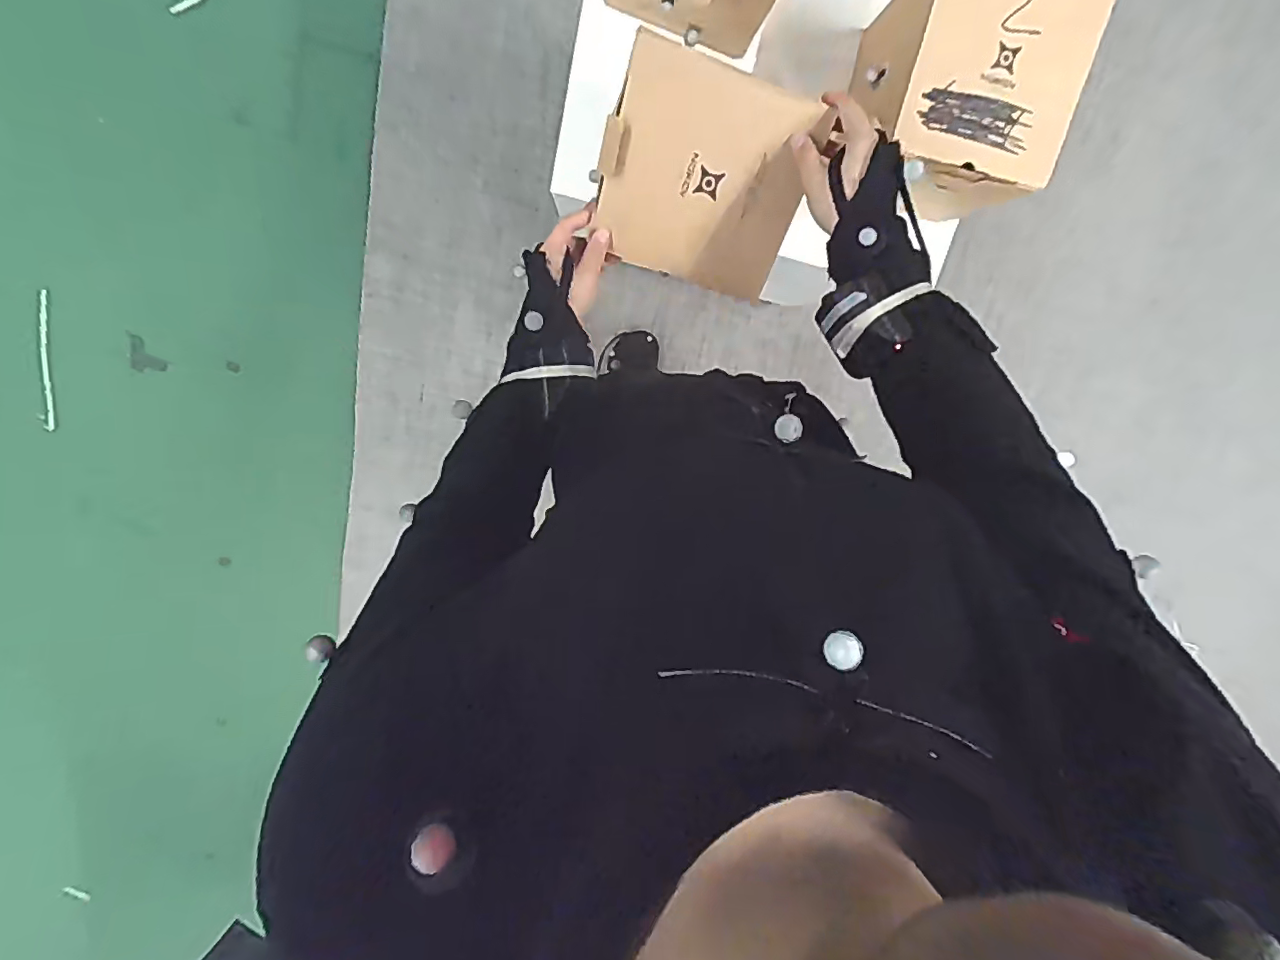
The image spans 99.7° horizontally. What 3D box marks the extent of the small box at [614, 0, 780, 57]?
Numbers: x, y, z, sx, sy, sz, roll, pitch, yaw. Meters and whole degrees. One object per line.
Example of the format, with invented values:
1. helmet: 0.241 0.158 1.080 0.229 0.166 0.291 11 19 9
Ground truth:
1. small box: 0.071 -0.553 0.504 0.168 0.176 0.179 14 106 -10

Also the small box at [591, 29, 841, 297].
1. small box: 0.061 -0.308 0.536 0.179 0.176 0.168 14 125 -9
